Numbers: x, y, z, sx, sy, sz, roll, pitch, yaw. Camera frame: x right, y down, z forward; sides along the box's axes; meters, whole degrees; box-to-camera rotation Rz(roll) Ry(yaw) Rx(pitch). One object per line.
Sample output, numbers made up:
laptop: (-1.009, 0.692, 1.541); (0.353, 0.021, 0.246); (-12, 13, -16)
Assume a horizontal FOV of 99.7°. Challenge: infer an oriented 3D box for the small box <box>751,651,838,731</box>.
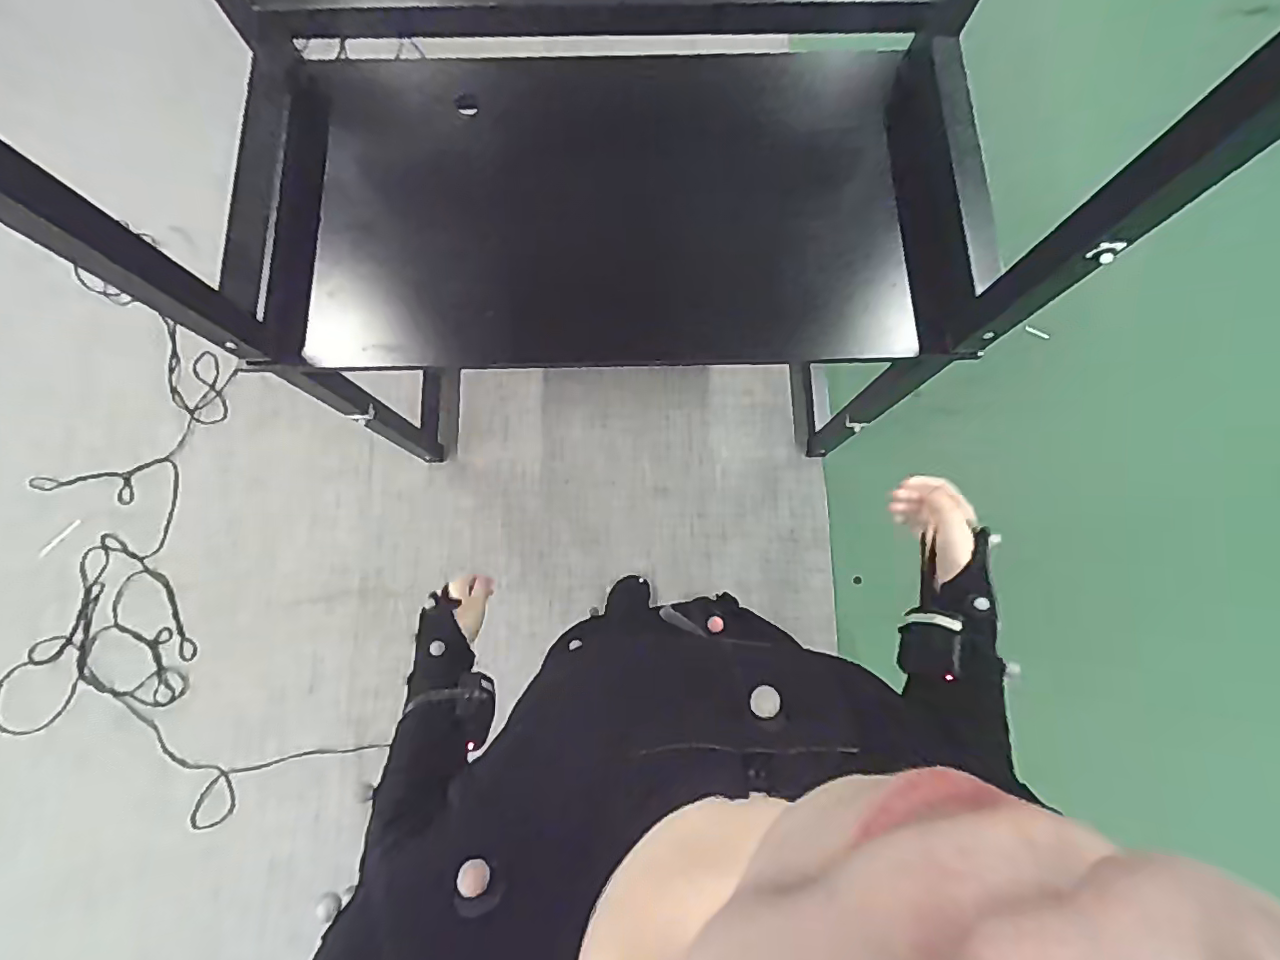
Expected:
small box: (0.381, 0.529, 1.369); (0.179, 0.176, 0.168); (-2, 79, 0)
